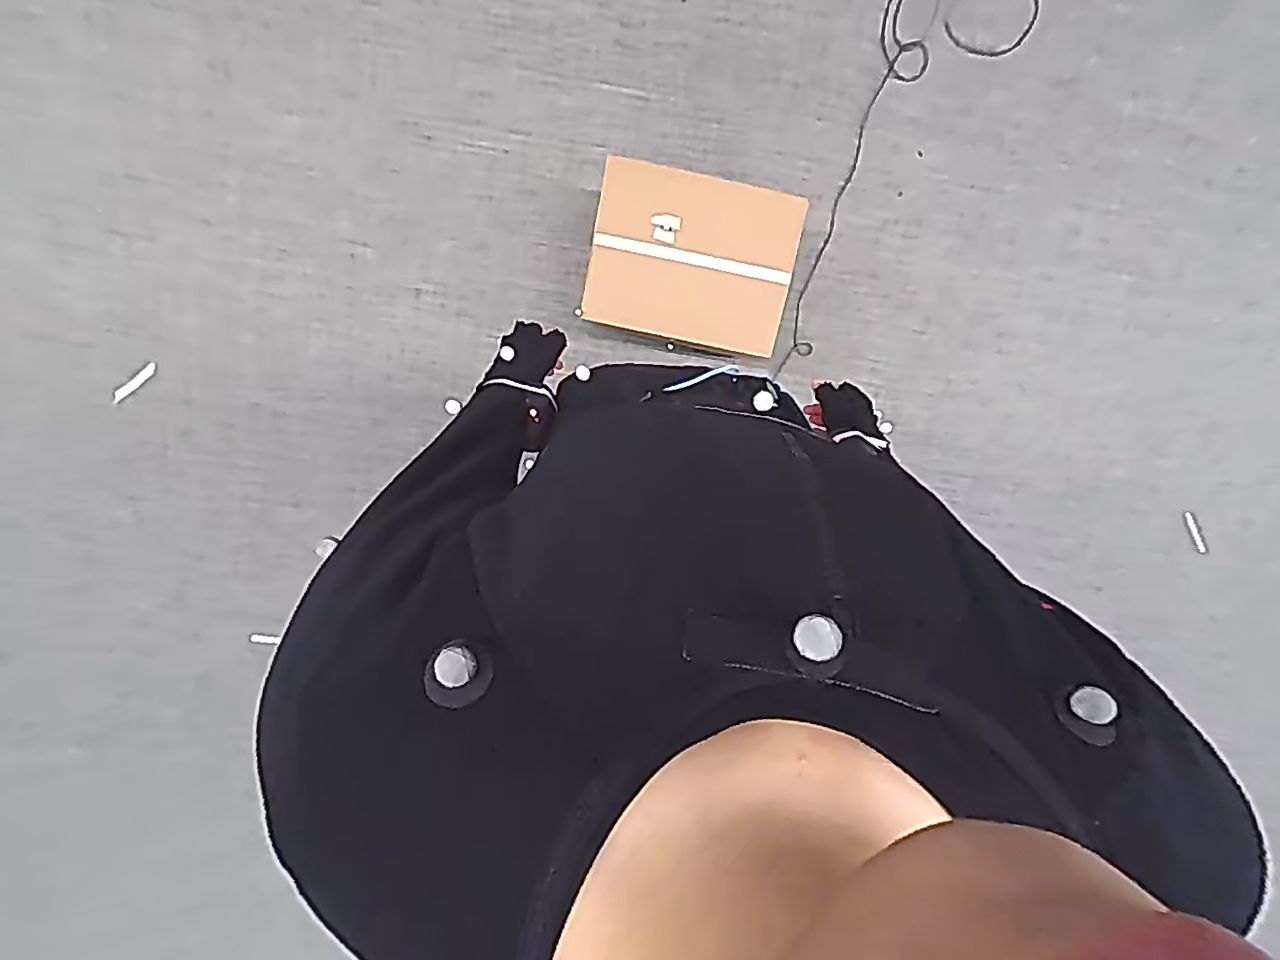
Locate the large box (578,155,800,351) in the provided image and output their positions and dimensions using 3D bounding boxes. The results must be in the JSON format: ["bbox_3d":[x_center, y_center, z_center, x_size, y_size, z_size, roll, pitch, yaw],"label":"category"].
[{"bbox_3d":[0.095,-0.484,1.231,0.408,0.320,0.320,11,102,-3],"label":"large box"}]
